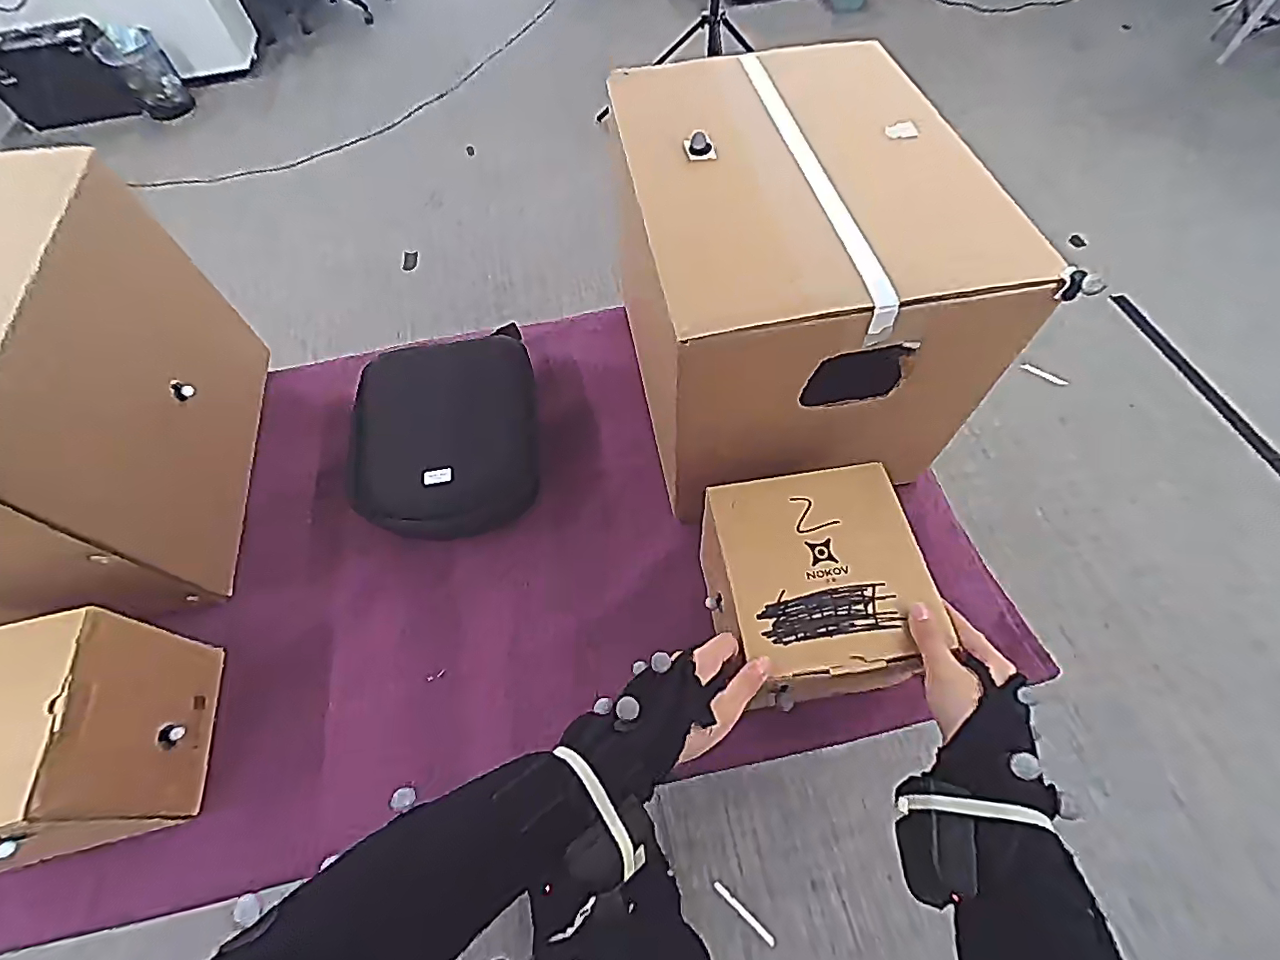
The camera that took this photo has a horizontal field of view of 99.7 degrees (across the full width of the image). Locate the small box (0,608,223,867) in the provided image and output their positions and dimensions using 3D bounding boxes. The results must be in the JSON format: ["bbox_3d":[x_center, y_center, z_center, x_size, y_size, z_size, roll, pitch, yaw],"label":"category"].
[{"bbox_3d":[-0.536,0.239,0.491,0.179,0.176,0.168,-13,59,-6],"label":"small box"}]

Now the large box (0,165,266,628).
[{"bbox_3d":[-0.670,-0.066,0.593,0.320,0.320,0.408,-12,62,-6],"label":"large box"}]
